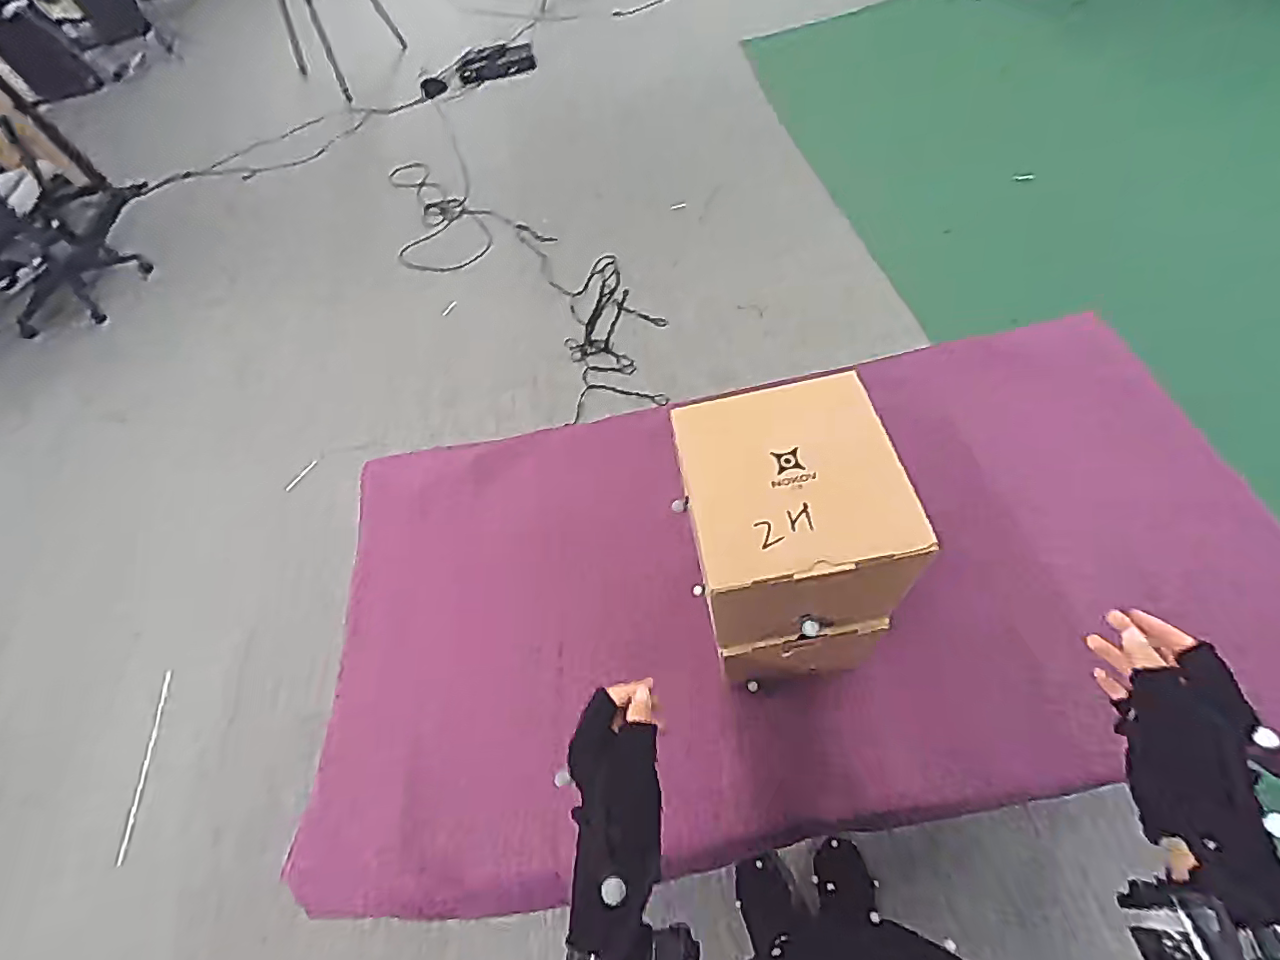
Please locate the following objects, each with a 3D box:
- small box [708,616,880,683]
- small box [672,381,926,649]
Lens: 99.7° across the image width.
[{"bbox_3d":[0.159,0.131,0.641,0.168,0.176,0.179,-12,57,4],"label":"small box"},{"bbox_3d":[0.129,0.040,0.507,0.168,0.176,0.179,-12,57,4],"label":"small box"}]
